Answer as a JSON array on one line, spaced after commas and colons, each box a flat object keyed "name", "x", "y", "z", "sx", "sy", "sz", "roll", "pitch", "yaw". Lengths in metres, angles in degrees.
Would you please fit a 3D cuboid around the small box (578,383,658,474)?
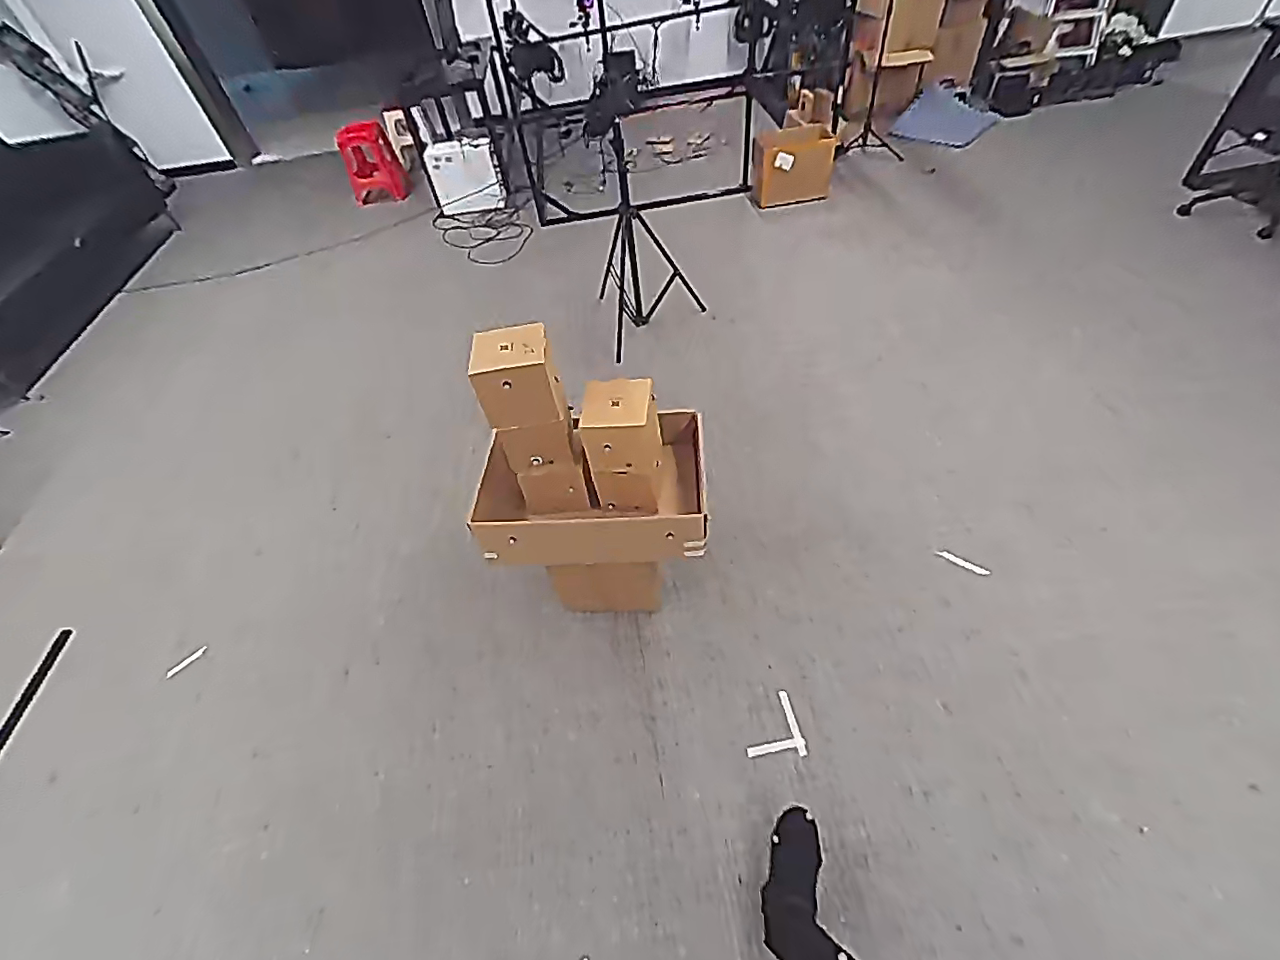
[{"name": "small box", "x": -0.049, "y": -0.126, "z": 1.386, "sx": 0.168, "sy": 0.176, "sz": 0.179, "roll": -1, "pitch": 48, "yaw": 9}]

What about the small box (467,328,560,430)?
[{"name": "small box", "x": -0.296, "y": -0.237, "z": 1.299, "sx": 0.179, "sy": 0.176, "sz": 0.168, "roll": -9, "pitch": 49, "yaw": 0}]
